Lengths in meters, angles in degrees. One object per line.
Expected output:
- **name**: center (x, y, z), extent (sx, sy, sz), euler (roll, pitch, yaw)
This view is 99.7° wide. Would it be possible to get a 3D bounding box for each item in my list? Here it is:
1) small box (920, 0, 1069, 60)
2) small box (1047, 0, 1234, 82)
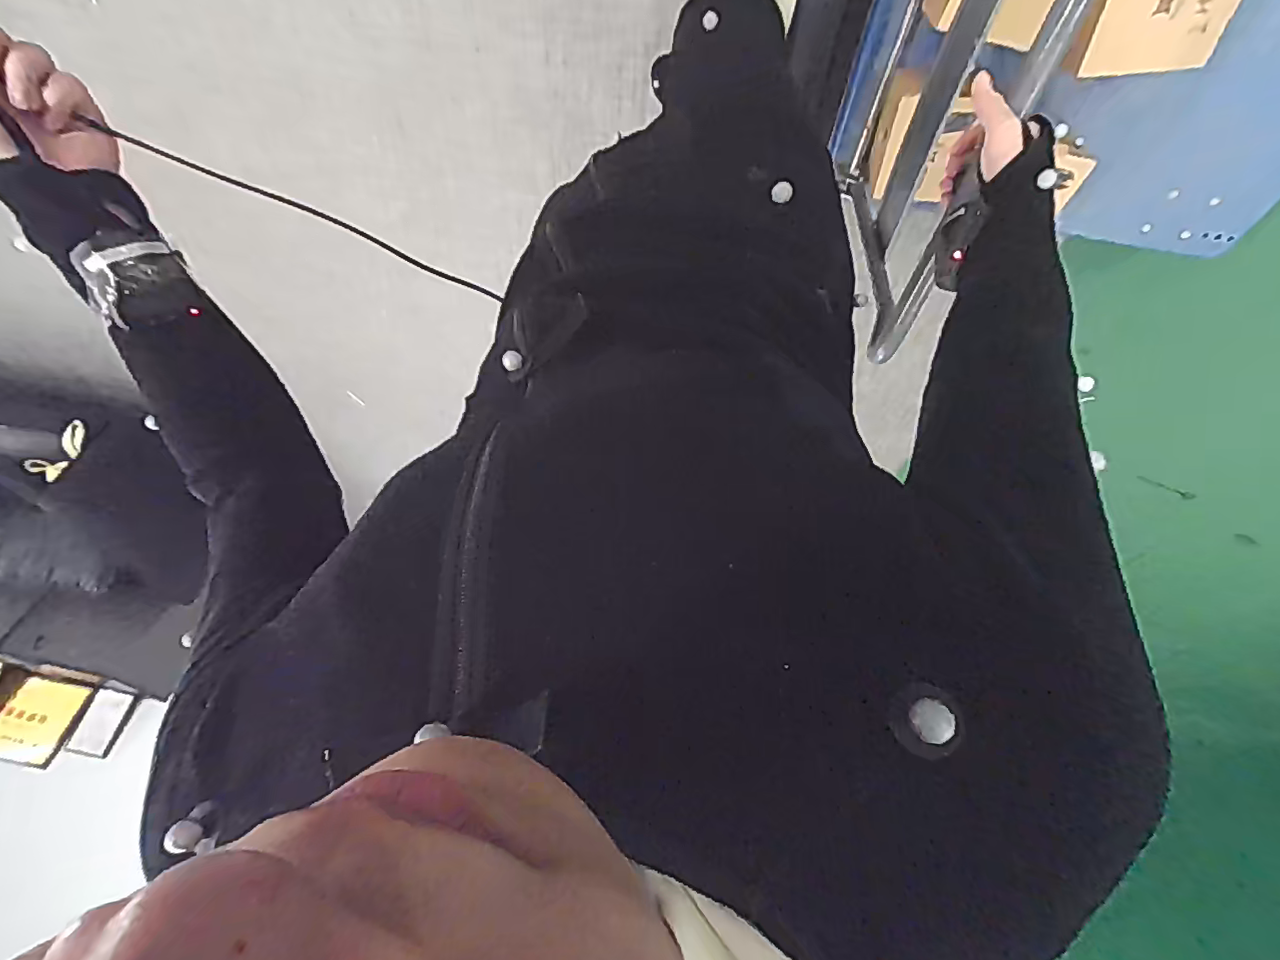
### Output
- **small box**: center (0.573, -0.802, 0.849), extent (0.179, 0.176, 0.168), euler (14, 142, 0)
- **small box**: center (0.782, -0.749, 0.845), extent (0.179, 0.176, 0.168), euler (4, 141, 12)
